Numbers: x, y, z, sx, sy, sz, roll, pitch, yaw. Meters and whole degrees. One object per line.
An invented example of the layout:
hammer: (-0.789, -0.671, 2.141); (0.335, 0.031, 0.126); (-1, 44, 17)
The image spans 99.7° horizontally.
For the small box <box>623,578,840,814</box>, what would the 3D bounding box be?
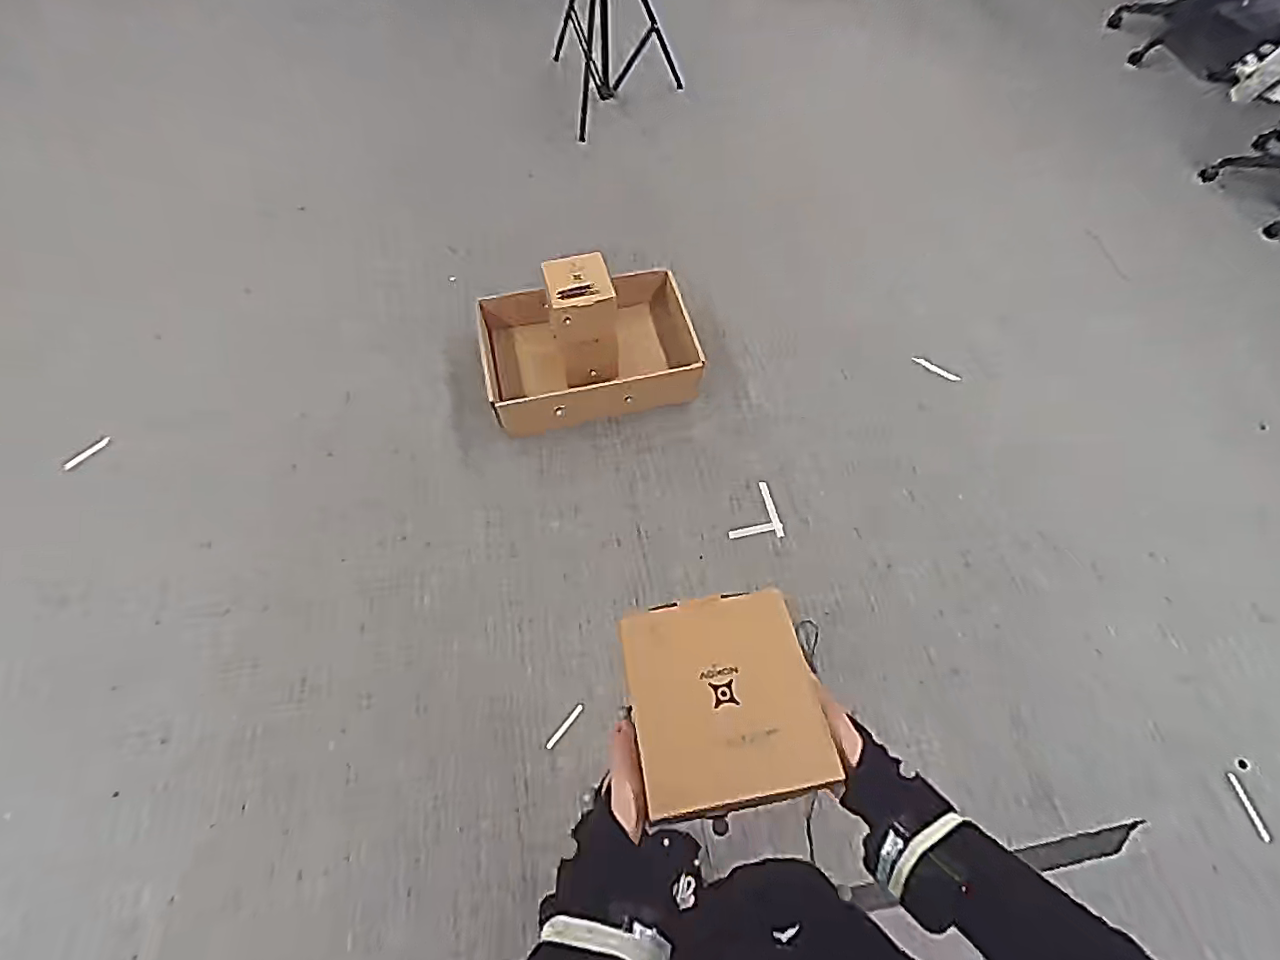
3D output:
small box: (0.073, 0.224, 0.556); (0.168, 0.176, 0.179); (-8, 56, -6)

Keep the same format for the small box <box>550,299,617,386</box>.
small box: (-0.169, -0.412, 1.635); (0.168, 0.176, 0.179); (-14, 65, -9)
